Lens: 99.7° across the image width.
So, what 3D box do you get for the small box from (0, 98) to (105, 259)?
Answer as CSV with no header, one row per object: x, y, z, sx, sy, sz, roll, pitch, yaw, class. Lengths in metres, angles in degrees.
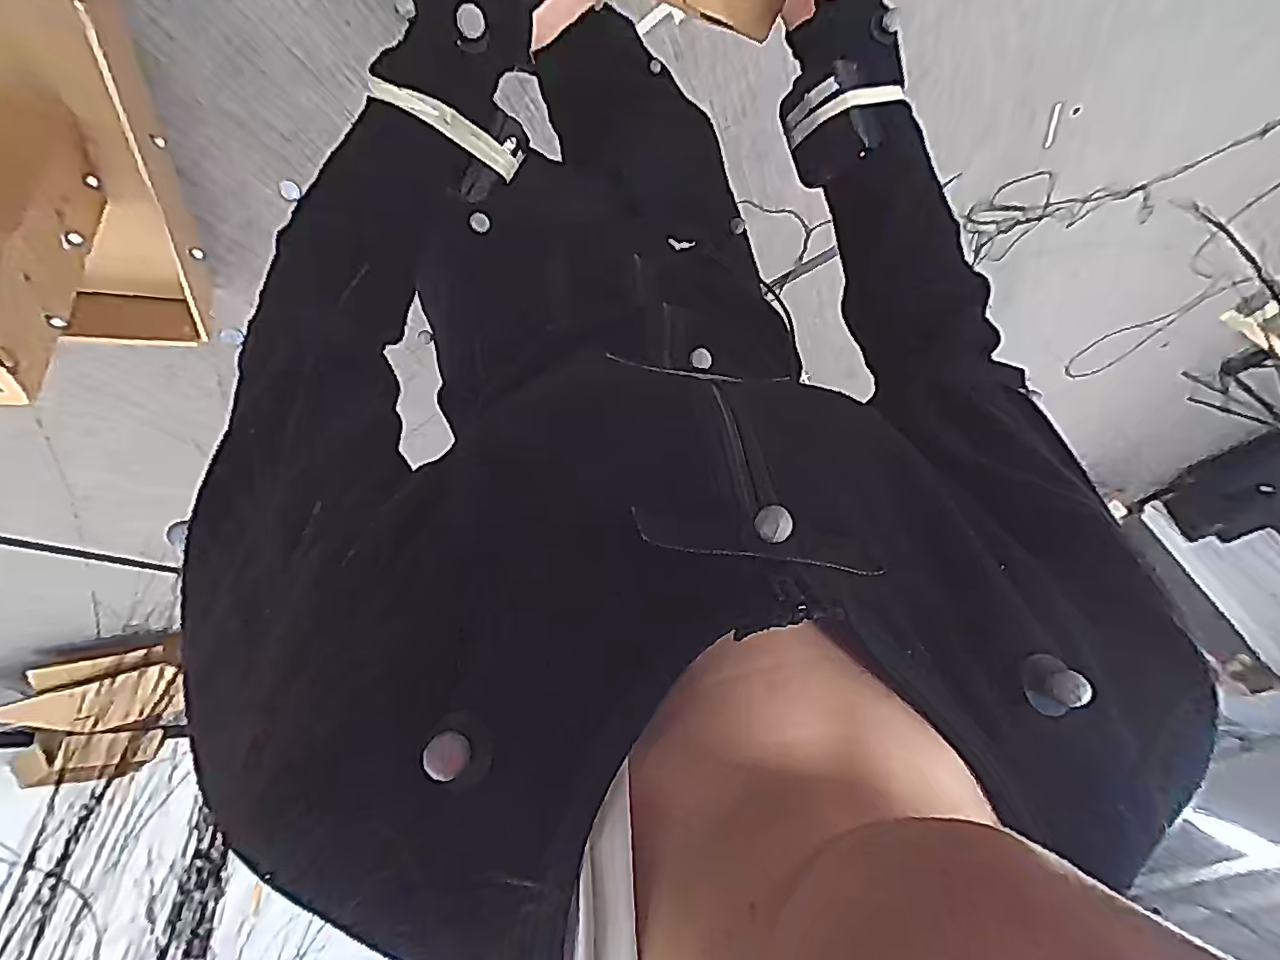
-1.016,-0.490,0.869,0.179,0.176,0.168,-2,147,-29,small box

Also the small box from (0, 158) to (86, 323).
-0.971,-0.357,0.789,0.179,0.176,0.168,-3,148,-28,small box

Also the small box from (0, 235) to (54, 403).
-0.928,-0.220,0.709,0.179,0.176,0.168,-2,147,-26,small box
